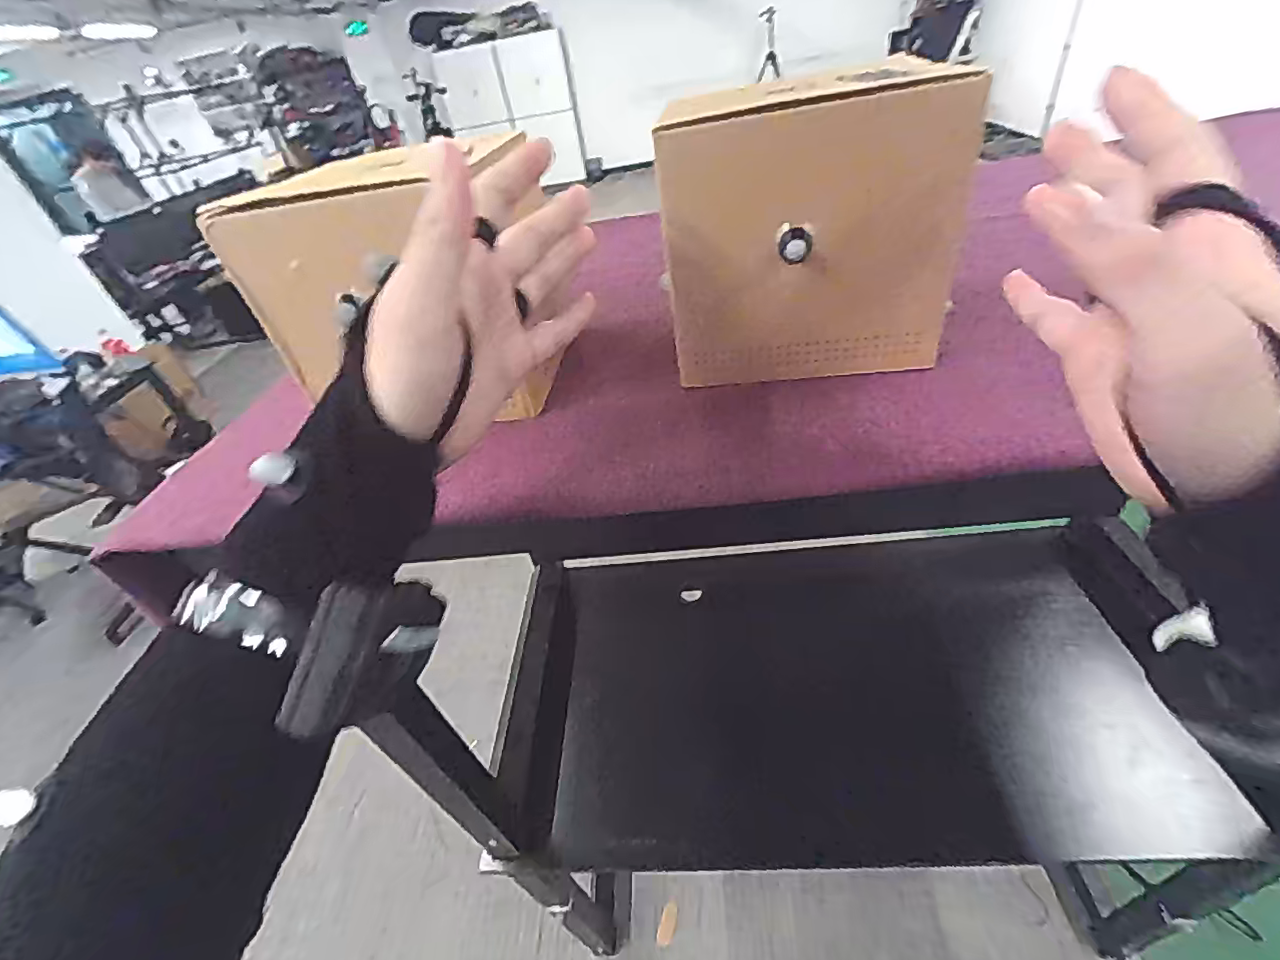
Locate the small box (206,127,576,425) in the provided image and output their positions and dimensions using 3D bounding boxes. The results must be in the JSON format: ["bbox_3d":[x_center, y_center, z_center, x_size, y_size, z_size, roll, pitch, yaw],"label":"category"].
[{"bbox_3d":[-0.165,-0.157,0.429,0.179,0.176,0.168,-4,40,9],"label":"small box"}]

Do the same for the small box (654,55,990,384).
[{"bbox_3d":[0.114,-0.187,0.396,0.179,0.176,0.168,-4,38,11],"label":"small box"}]
